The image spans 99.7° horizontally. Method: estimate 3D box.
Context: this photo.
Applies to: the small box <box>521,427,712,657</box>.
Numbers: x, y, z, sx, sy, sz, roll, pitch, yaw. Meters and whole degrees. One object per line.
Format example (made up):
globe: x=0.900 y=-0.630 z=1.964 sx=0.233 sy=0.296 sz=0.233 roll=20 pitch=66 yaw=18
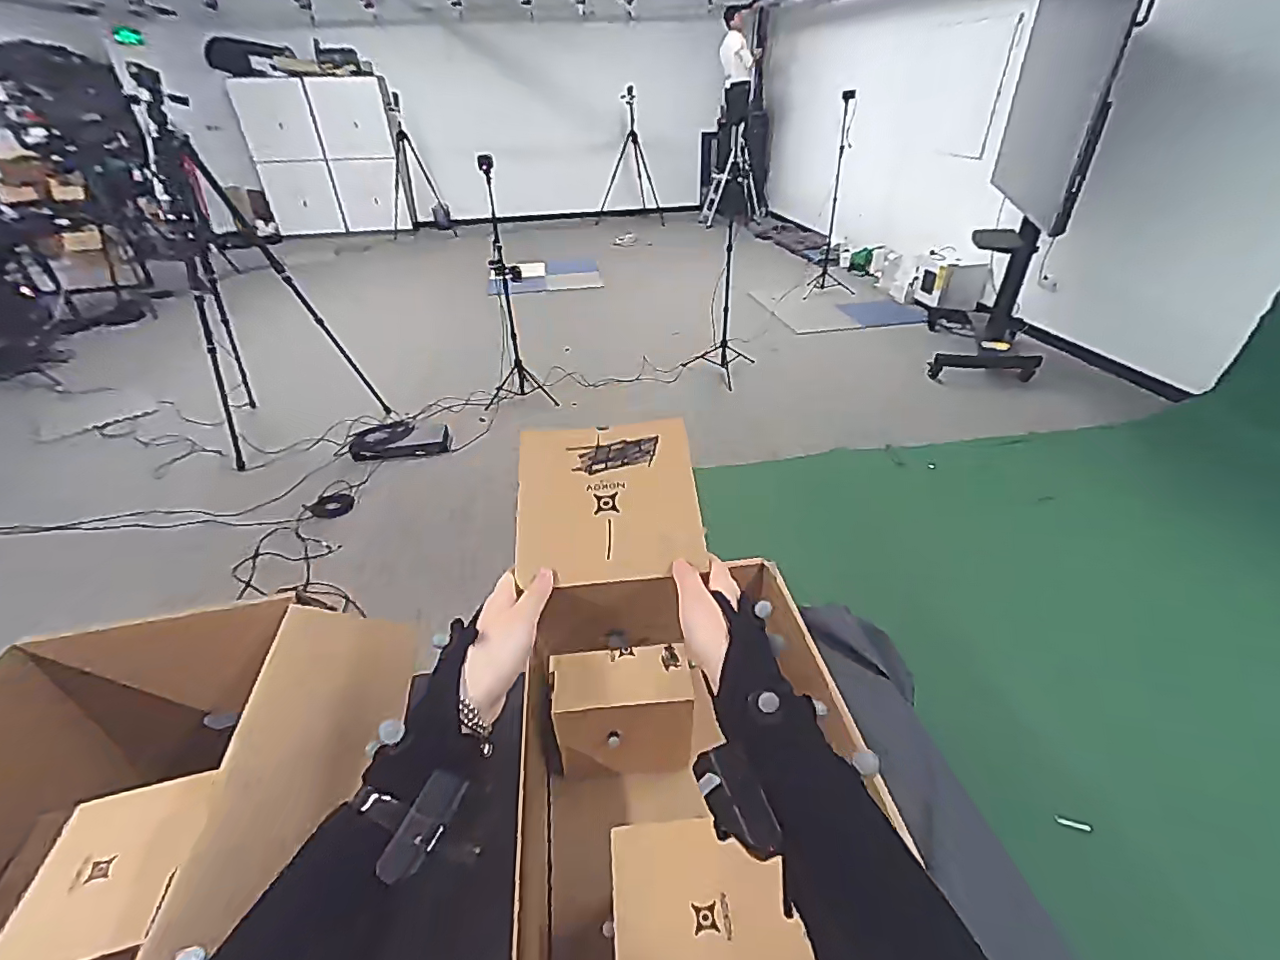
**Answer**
small box: x=-0.024 y=0.068 z=0.568 sx=0.168 sy=0.176 sz=0.179 roll=-5 pitch=54 yaw=-2
